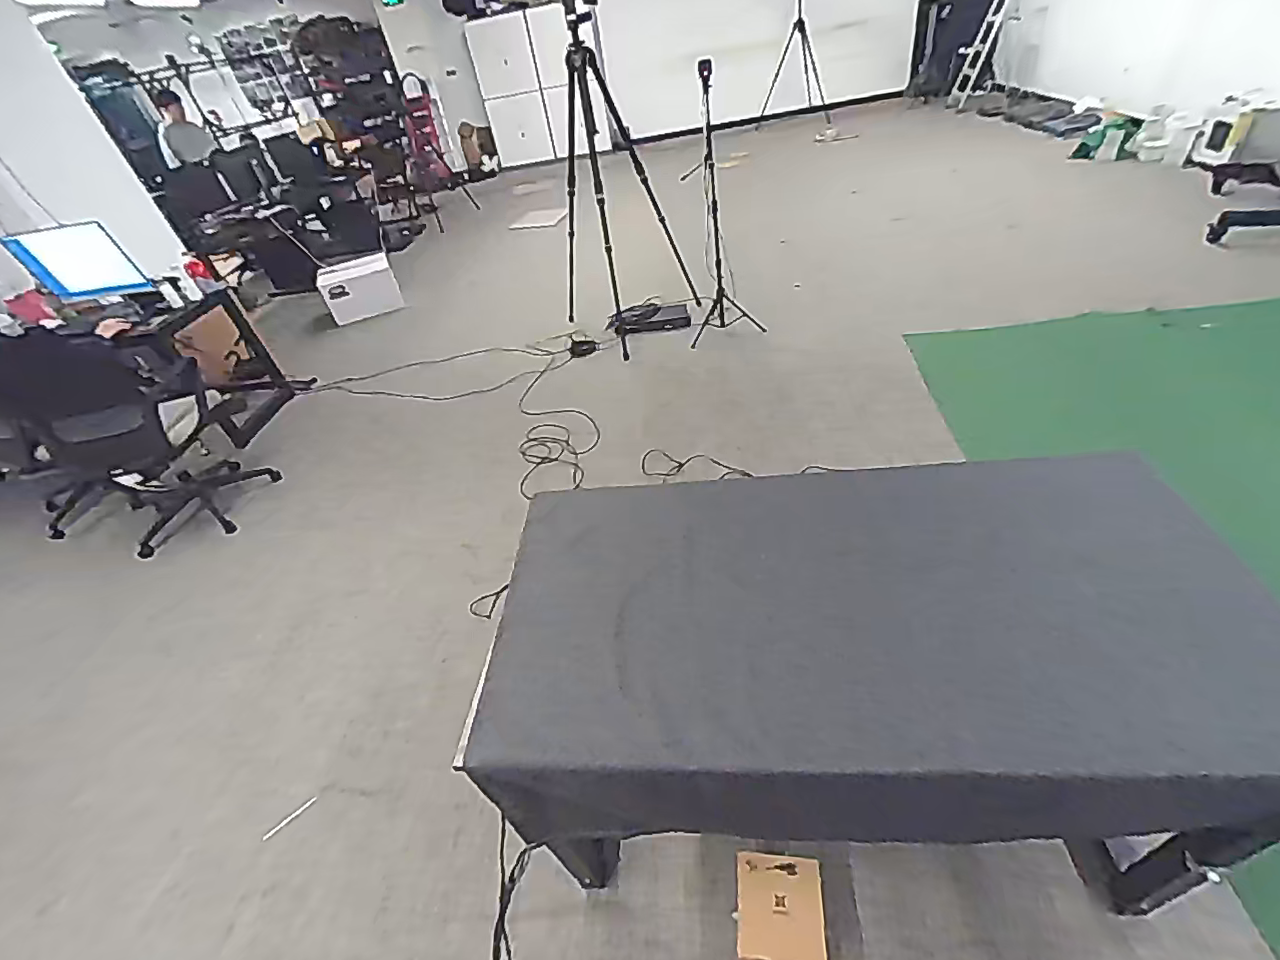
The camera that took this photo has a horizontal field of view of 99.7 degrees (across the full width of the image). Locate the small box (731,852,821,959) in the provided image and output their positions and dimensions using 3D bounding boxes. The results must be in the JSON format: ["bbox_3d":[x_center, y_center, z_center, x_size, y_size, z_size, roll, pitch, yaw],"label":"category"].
[{"bbox_3d":[0.277,0.892,1.099,0.168,0.176,0.179,-2,41,12],"label":"small box"}]
